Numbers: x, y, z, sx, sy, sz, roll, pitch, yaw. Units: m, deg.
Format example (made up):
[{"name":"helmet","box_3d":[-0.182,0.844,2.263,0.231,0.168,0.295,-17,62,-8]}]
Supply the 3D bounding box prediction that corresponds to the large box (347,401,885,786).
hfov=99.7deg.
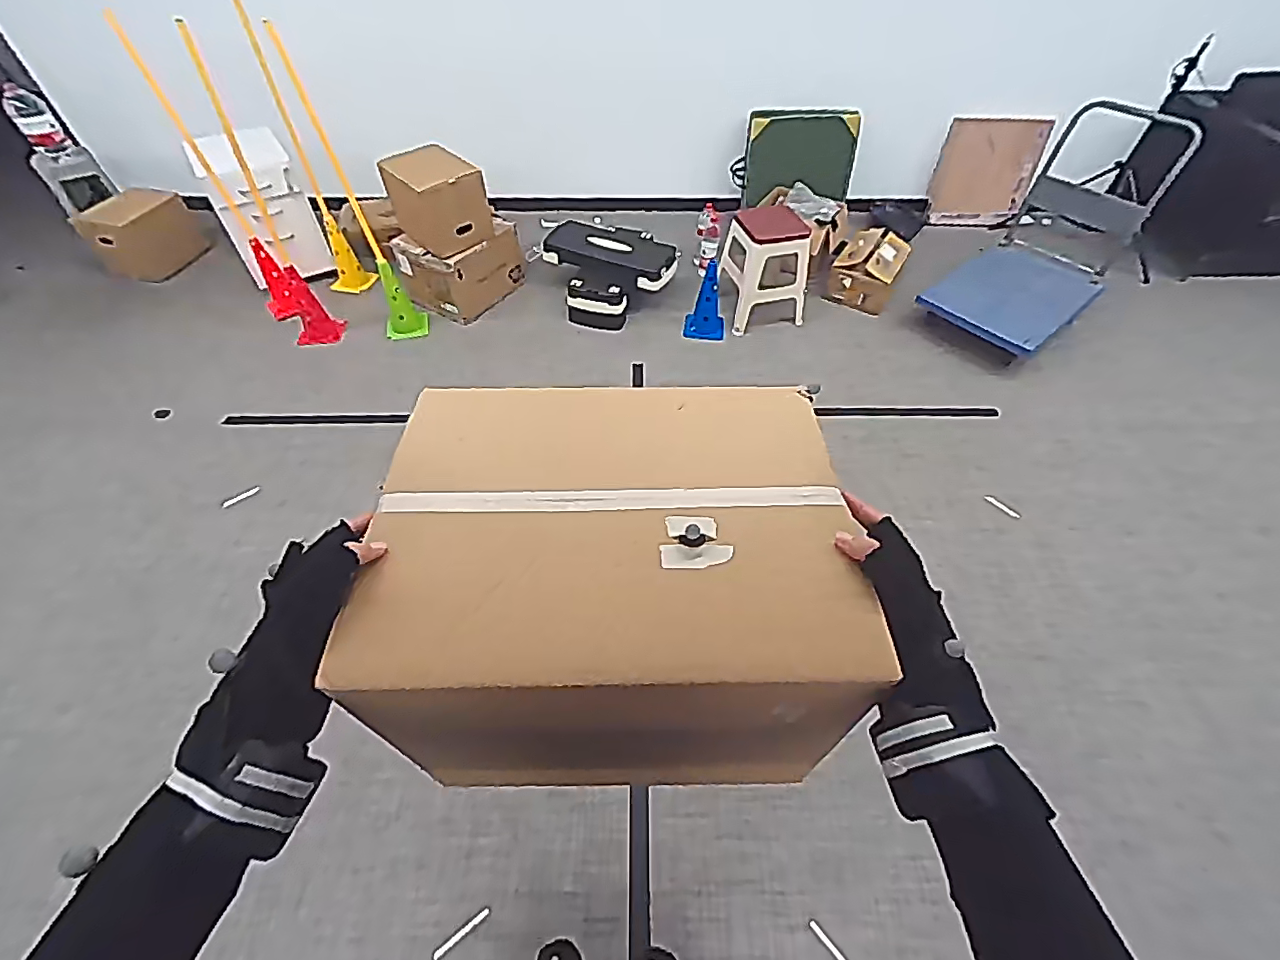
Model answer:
[{"name":"large box","box_3d":[-0.021,0.129,0.601,0.408,0.320,0.320,0,49,-1]}]

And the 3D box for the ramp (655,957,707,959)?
[{"name":"ramp","box_3d":[-0.074,1.423,0.865,0.509,0.206,0.991,-1,51,-3]}]
